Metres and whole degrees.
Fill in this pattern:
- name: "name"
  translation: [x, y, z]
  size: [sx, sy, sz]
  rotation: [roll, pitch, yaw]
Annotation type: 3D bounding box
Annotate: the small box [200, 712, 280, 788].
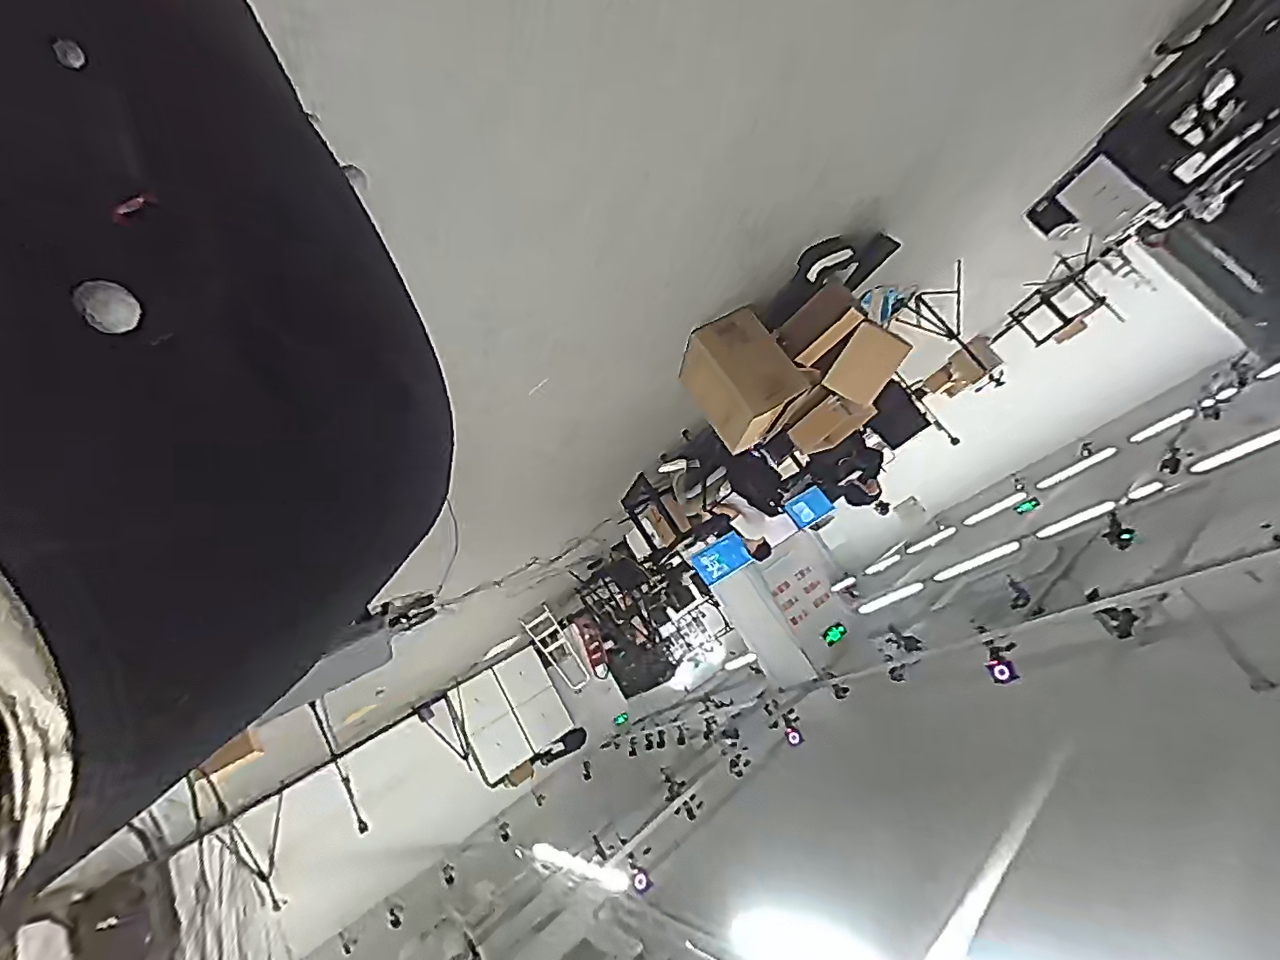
- name: "small box"
  translation: [-1.407, 0.950, 1.900]
  size: [0.179, 0.176, 0.168]
  rotation: [-26, 165, -31]
